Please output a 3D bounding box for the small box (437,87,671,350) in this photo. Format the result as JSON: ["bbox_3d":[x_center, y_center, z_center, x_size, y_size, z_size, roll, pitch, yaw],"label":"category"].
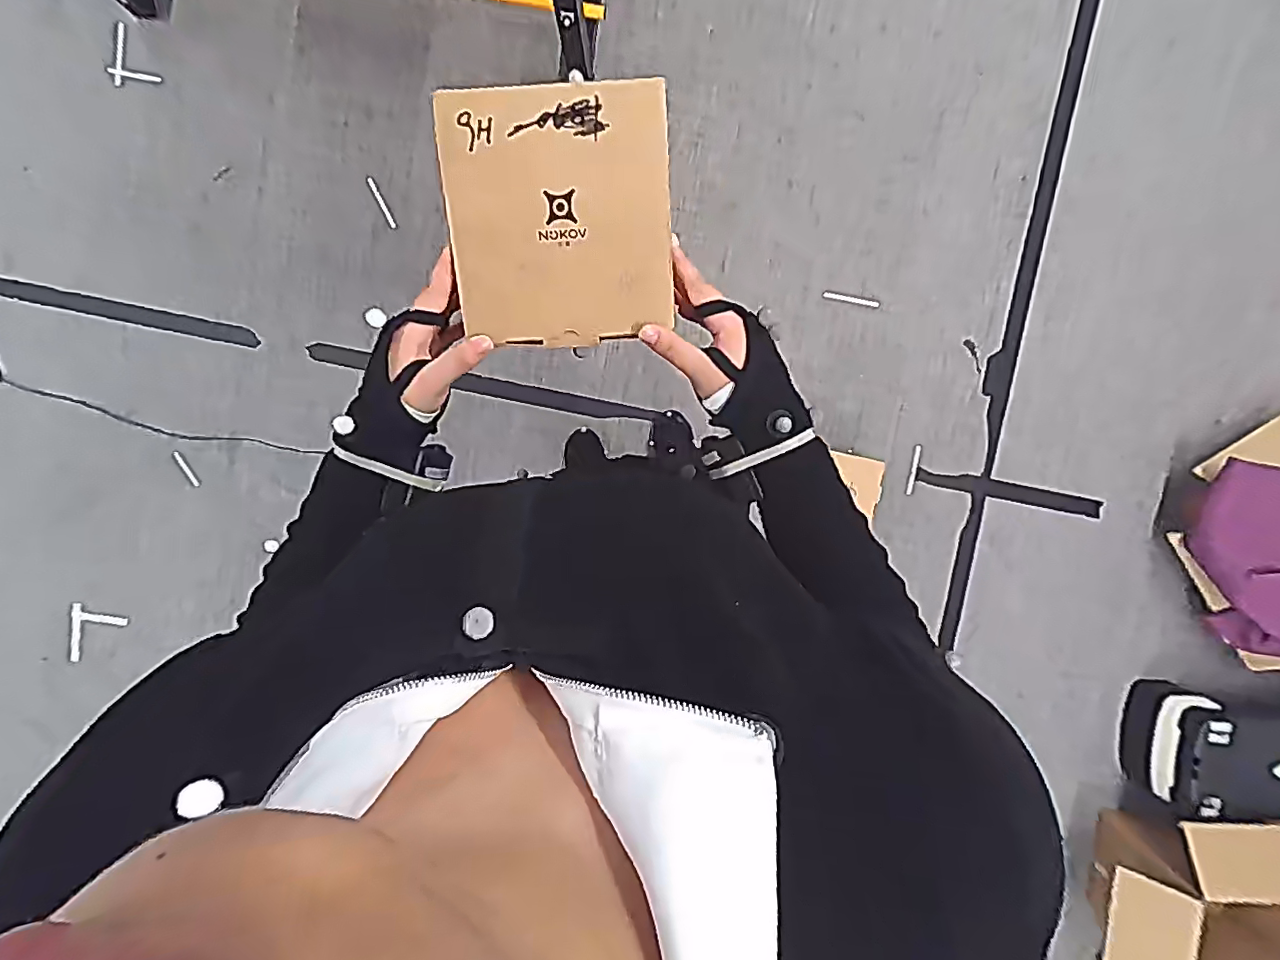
[{"bbox_3d":[-0.059,-0.216,0.485,0.168,0.176,0.179,-4,107,0],"label":"small box"}]
